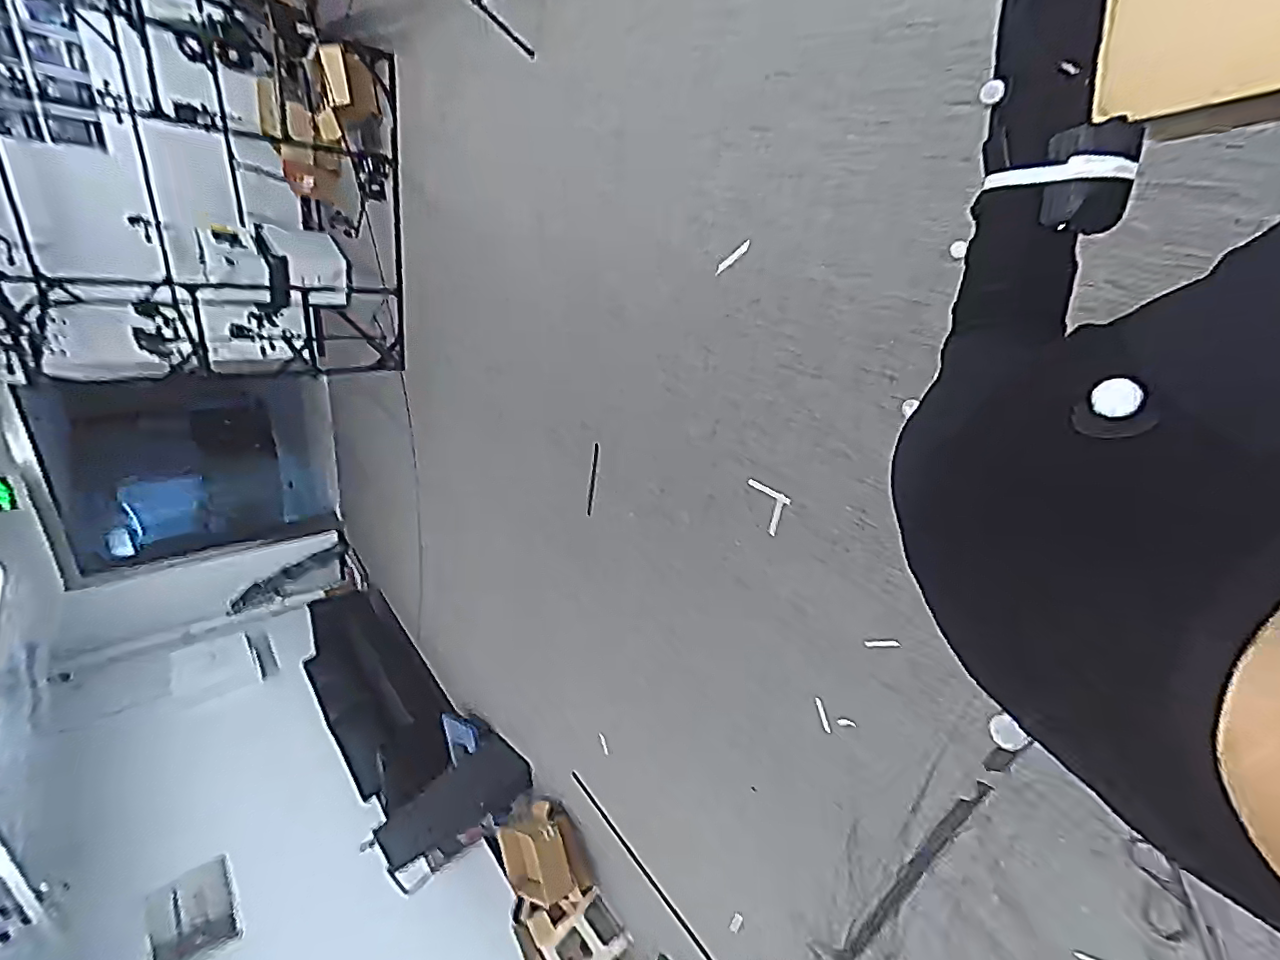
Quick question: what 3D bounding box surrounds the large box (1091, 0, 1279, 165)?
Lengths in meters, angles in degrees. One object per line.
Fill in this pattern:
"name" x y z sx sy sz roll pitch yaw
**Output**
"large box" 0.540 -0.398 0.292 0.408 0.320 0.320 12 119 45
